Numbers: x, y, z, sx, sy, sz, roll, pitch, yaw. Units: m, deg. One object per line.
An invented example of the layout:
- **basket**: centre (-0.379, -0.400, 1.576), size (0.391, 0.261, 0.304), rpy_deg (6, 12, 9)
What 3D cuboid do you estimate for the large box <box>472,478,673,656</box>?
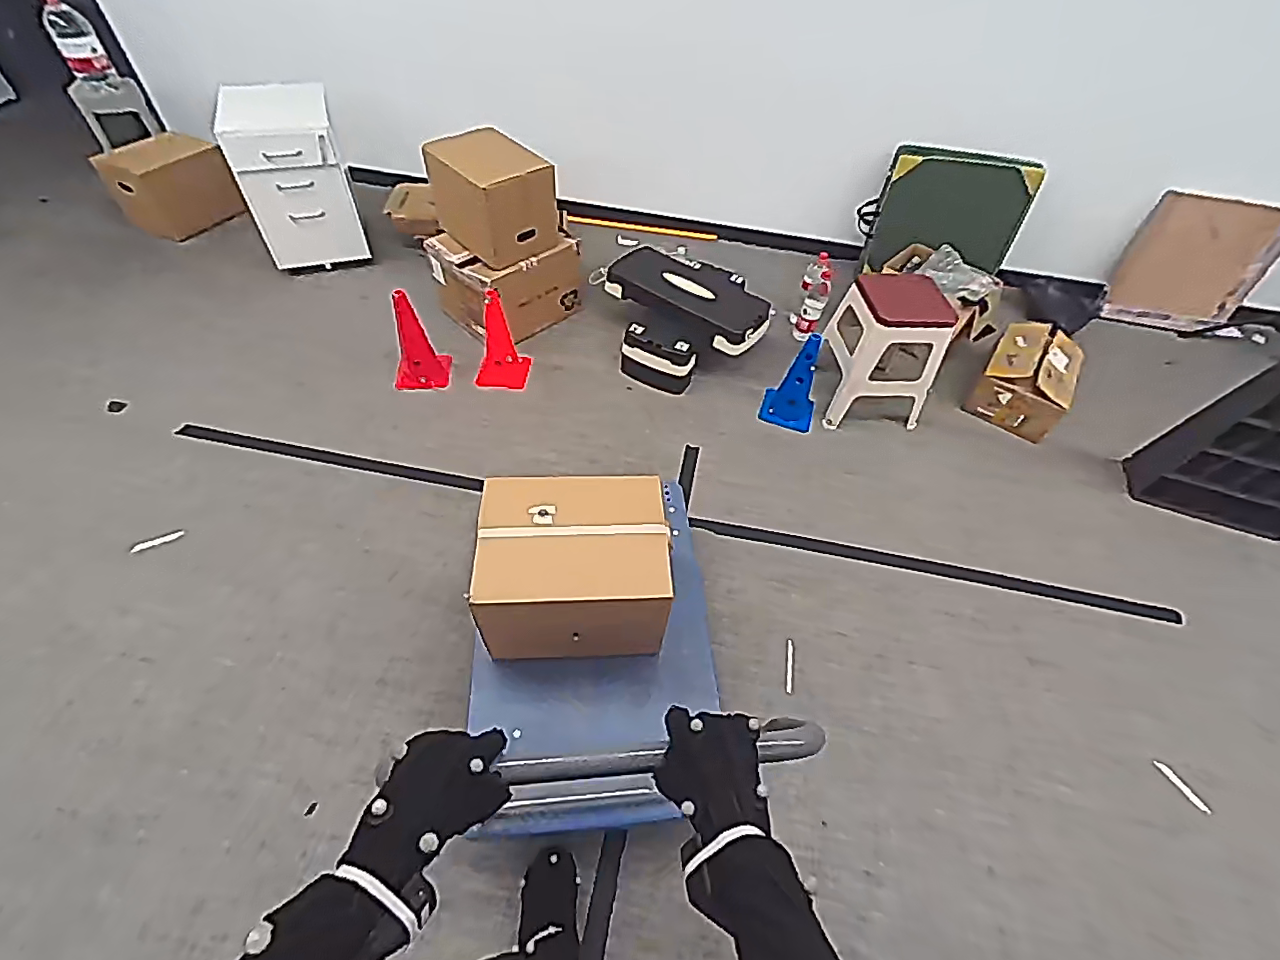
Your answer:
- **large box**: centre (-0.148, 0.210, 1.279), size (0.408, 0.320, 0.320), rpy_deg (-1, 52, -4)
